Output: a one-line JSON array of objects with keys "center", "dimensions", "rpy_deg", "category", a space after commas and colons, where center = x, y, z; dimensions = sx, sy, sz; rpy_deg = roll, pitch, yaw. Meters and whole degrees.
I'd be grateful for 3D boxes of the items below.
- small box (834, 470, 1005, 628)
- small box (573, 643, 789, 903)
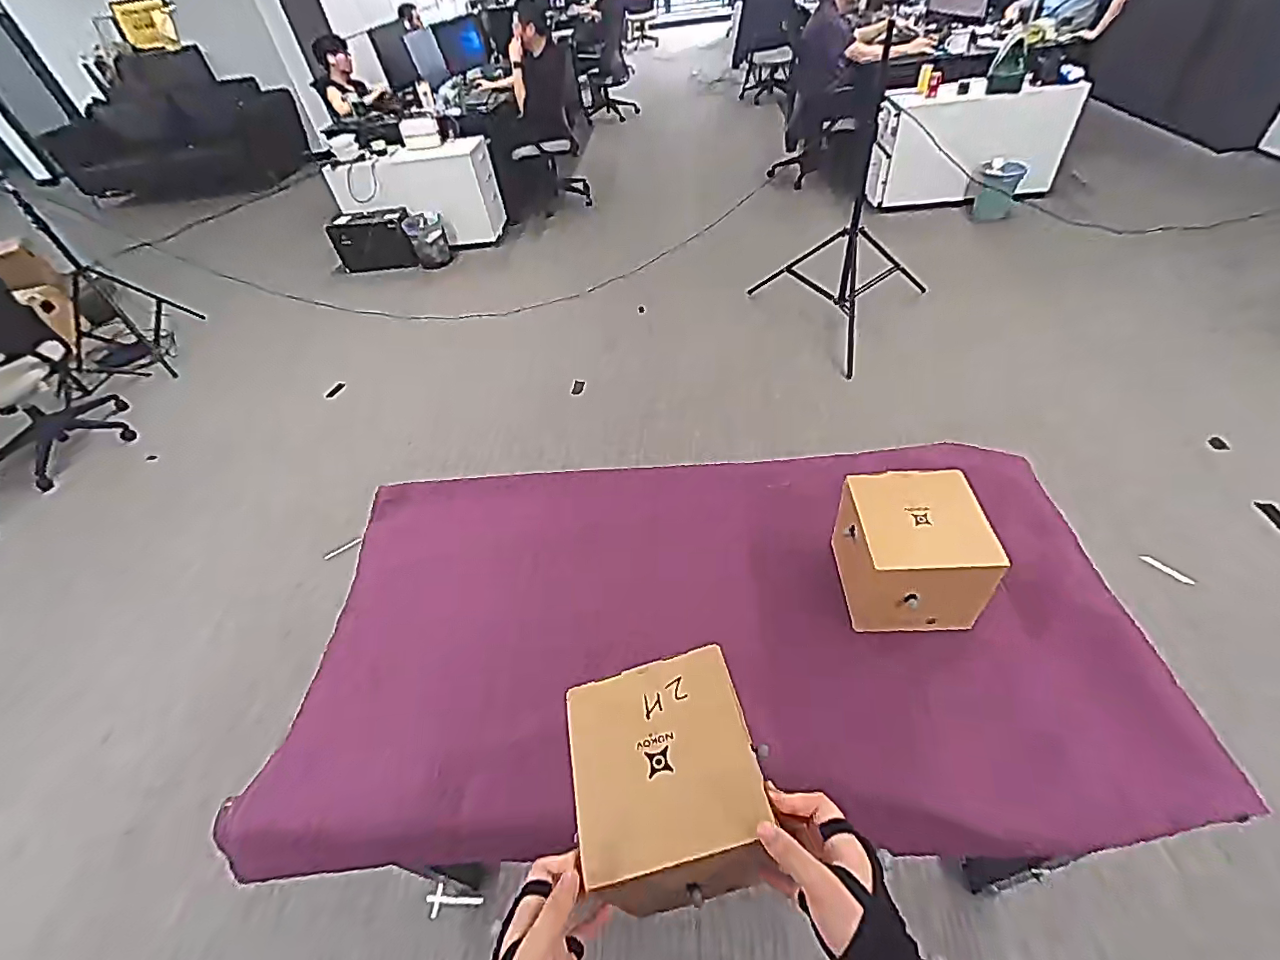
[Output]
[{"center": [0.398, 0.108, 0.807], "dimensions": [0.168, 0.176, 0.179], "rpy_deg": [-4, 45, 7], "category": "small box"}, {"center": [0.042, 0.301, 0.548], "dimensions": [0.168, 0.176, 0.179], "rpy_deg": [-17, 42, 2], "category": "small box"}]
